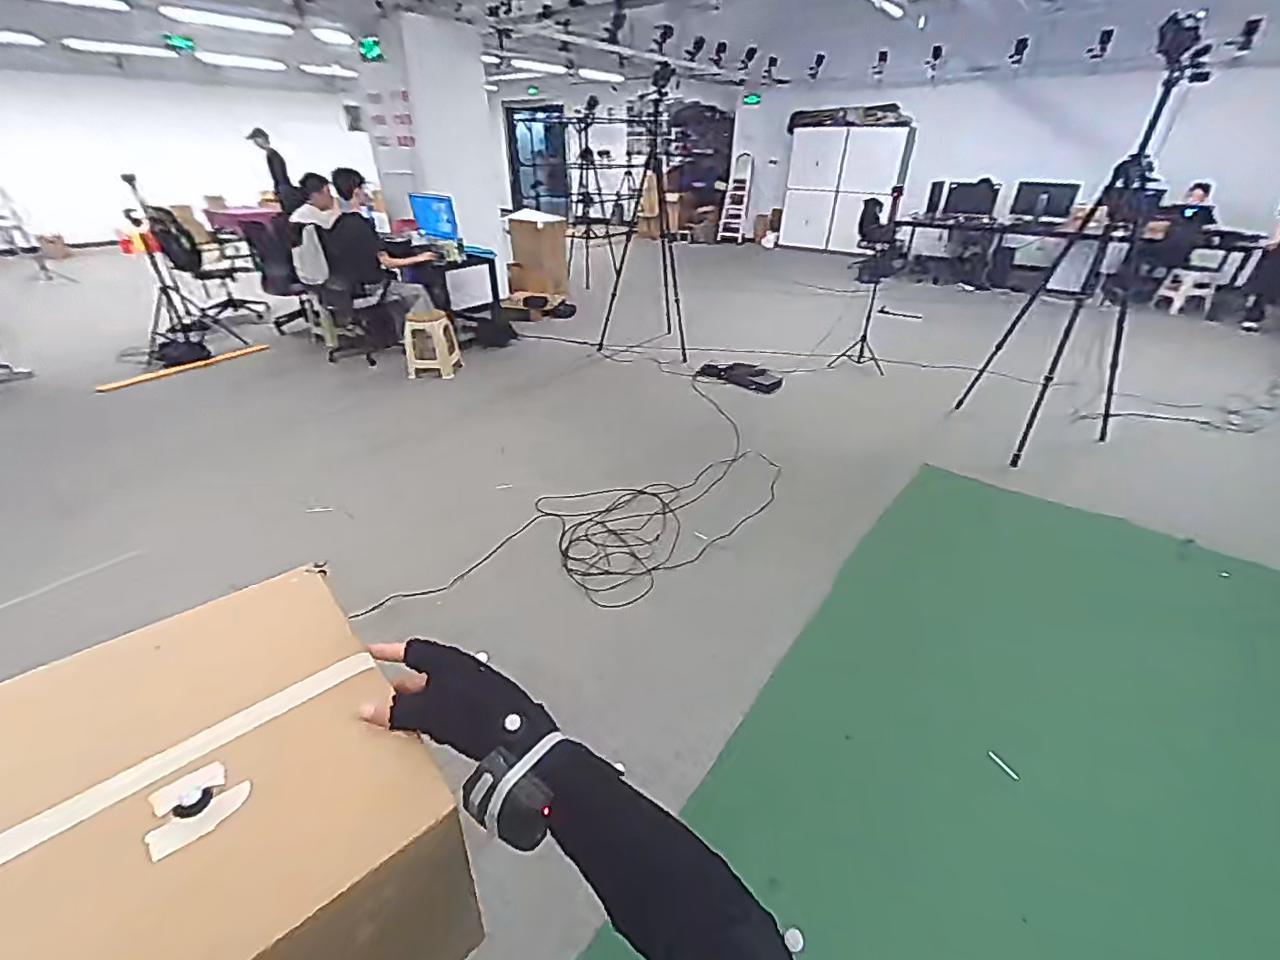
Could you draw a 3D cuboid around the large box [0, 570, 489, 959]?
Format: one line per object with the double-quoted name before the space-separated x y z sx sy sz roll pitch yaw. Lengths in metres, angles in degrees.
"large box" -0.391 0.356 0.467 0.408 0.320 0.320 -24 46 -36
